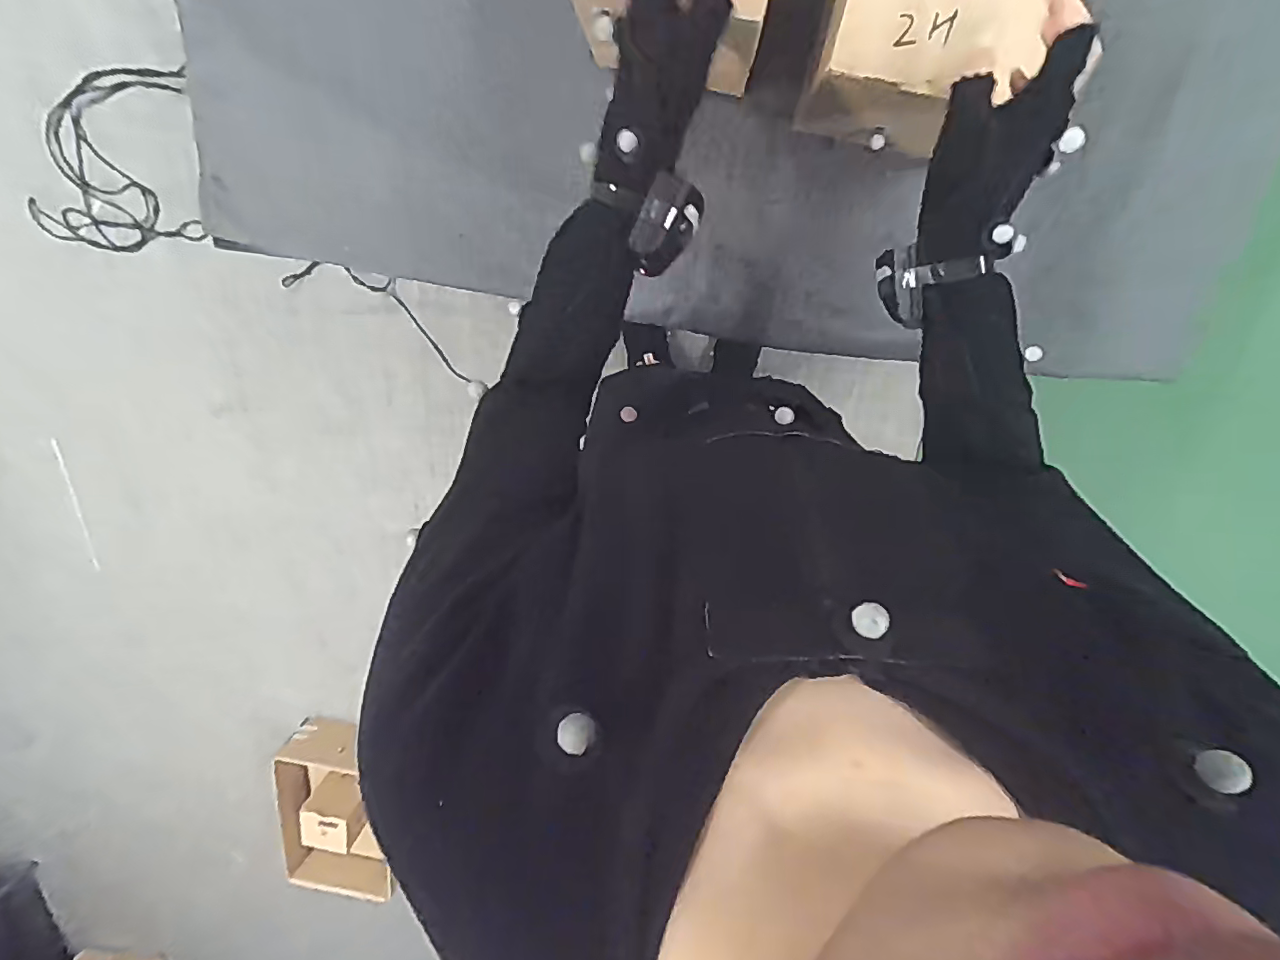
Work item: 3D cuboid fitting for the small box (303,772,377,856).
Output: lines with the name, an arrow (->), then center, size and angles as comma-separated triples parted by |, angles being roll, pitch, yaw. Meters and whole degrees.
small box -> -1.044, 1.164, 1.893 | 0.168, 0.176, 0.179 | 12, 112, 2

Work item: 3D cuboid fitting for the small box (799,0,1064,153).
small box -> 0.256, -0.425, 0.488 | 0.168, 0.176, 0.179 | 13, 110, 2
